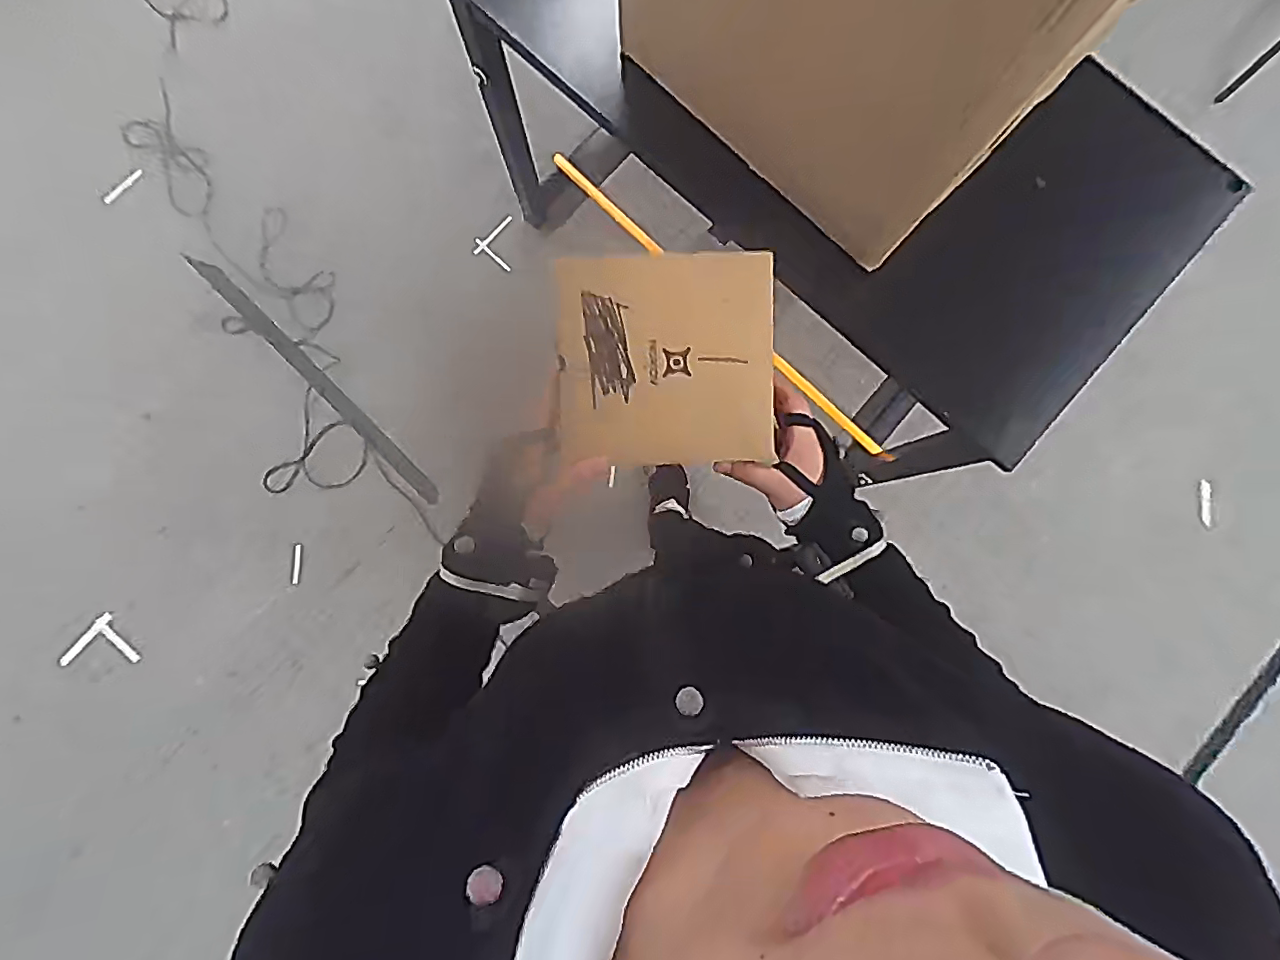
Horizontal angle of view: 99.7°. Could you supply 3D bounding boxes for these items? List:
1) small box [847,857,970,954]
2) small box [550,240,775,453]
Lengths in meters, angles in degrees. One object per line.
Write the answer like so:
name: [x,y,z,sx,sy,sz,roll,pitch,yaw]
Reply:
small box: [0.650,1.086,1.329,0.179,0.176,0.168,37,85,4]
small box: [0.015,-0.113,0.503,0.179,0.176,0.168,-2,98,-5]
